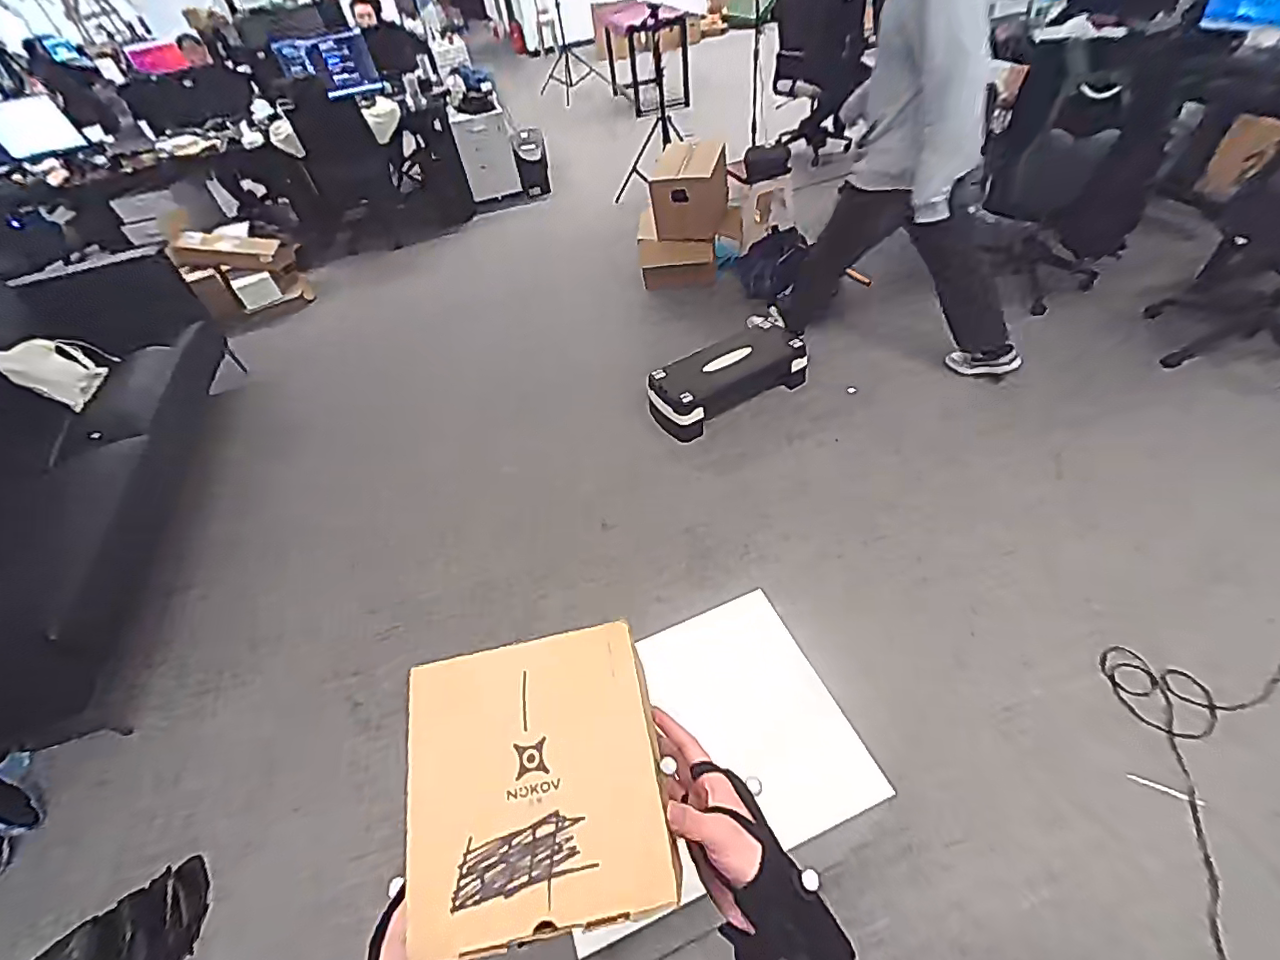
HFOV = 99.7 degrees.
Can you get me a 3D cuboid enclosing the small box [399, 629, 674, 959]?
[{"bbox_3d":[-0.070,0.239,0.430,0.168,0.176,0.179,-11,59,-1],"label":"small box"}]
